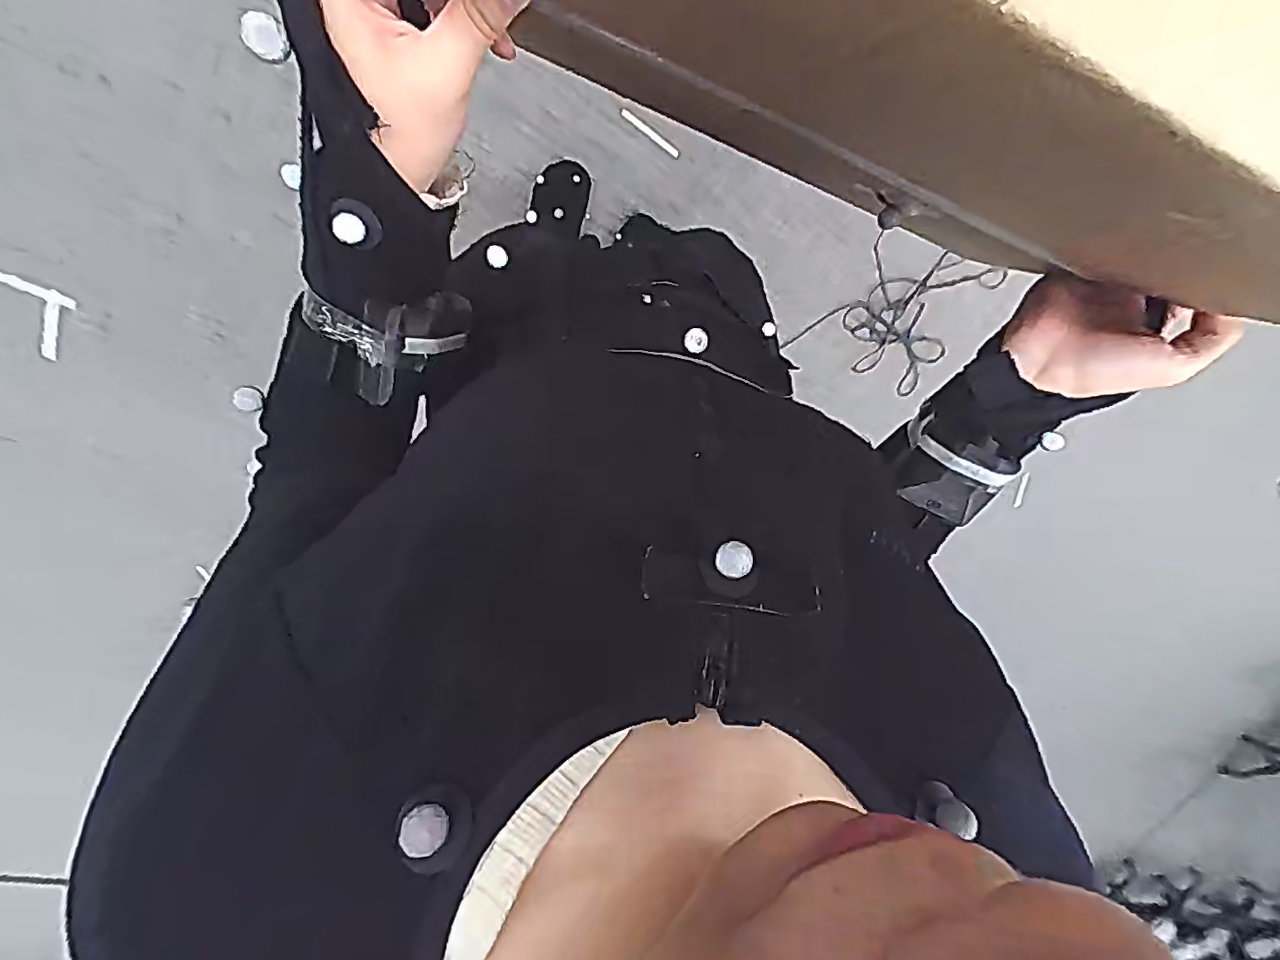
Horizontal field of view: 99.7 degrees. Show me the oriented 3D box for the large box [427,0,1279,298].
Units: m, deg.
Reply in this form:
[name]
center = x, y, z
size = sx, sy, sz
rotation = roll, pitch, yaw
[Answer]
[large box]
center = 0.131, -0.291, 0.182
size = 0.408, 0.320, 0.320
rotation = 13, 118, -14
